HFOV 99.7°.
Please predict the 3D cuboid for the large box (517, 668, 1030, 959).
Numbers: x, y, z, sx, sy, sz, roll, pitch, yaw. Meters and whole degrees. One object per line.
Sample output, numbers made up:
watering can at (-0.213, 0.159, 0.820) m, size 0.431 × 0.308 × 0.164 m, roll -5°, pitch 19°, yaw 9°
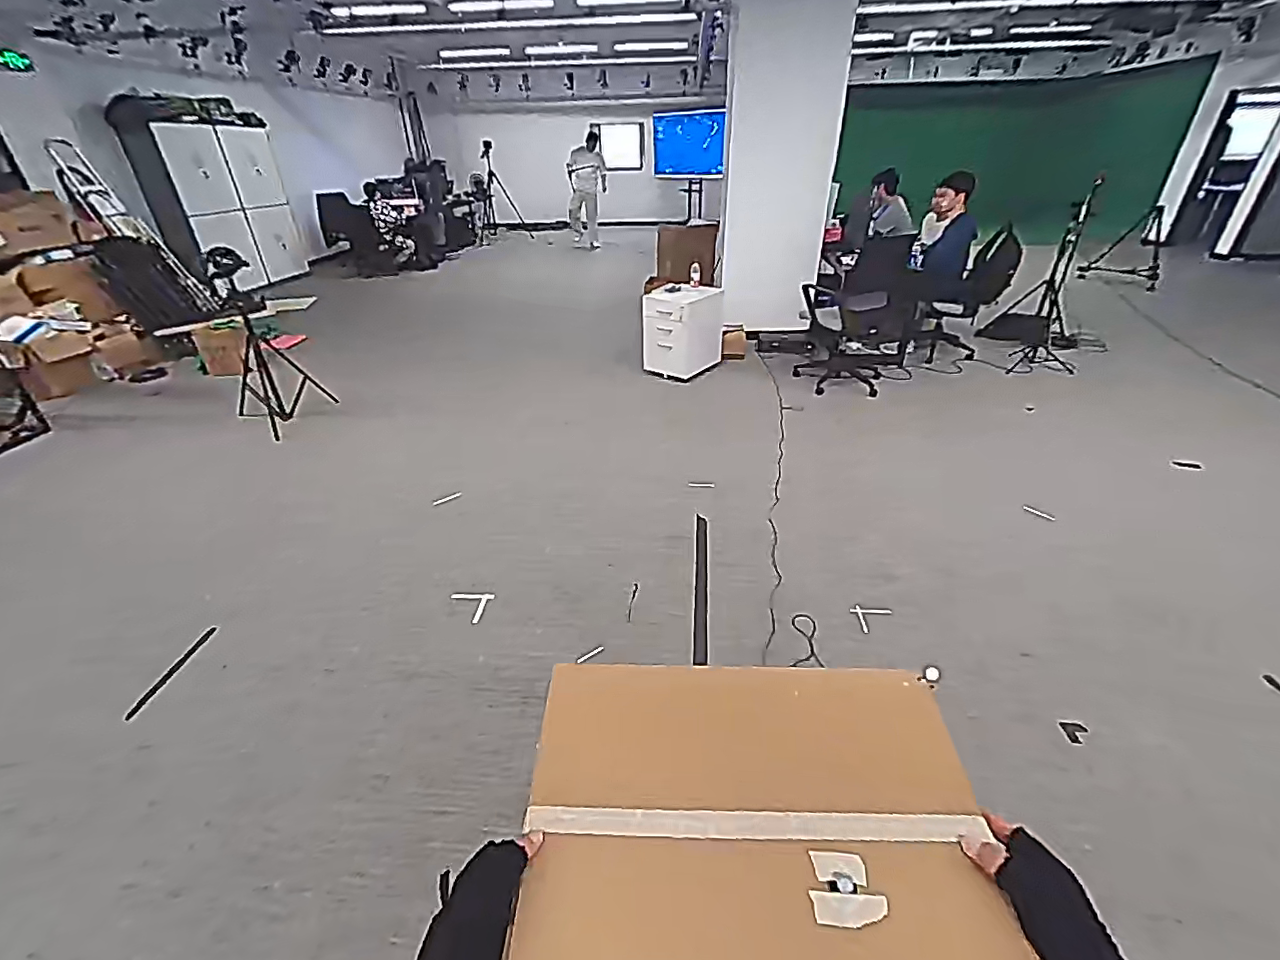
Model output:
large box at (0.106, 0.425, 0.583) m, size 0.408 × 0.320 × 0.320 m, roll 0°, pitch 40°, yaw 3°
